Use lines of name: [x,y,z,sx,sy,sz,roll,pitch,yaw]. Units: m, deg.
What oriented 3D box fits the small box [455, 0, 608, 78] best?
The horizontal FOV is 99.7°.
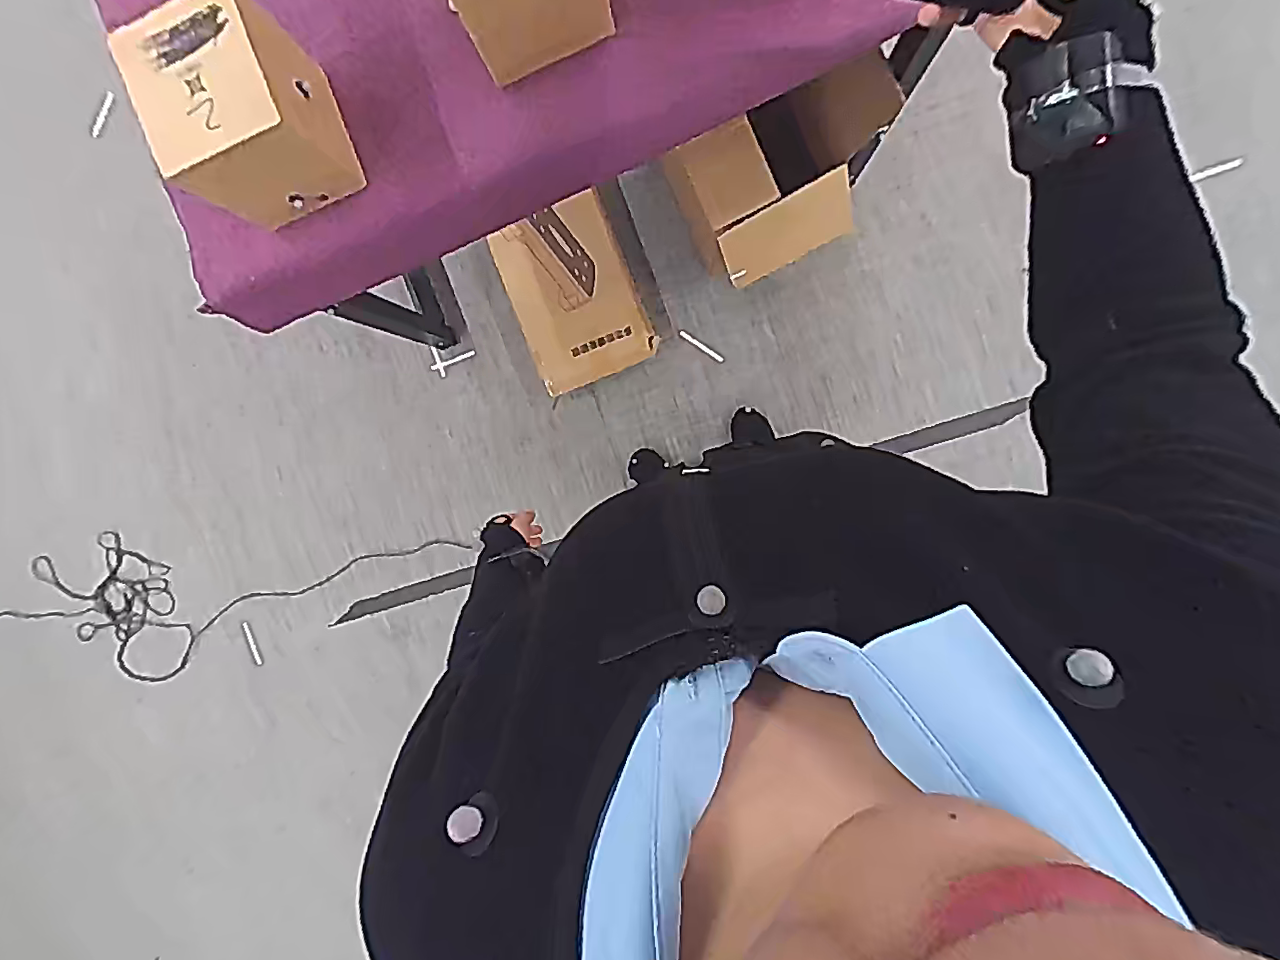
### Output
small box: [-0.146,-0.636,0.639,0.179,0.176,0.168,-21,91,7]
